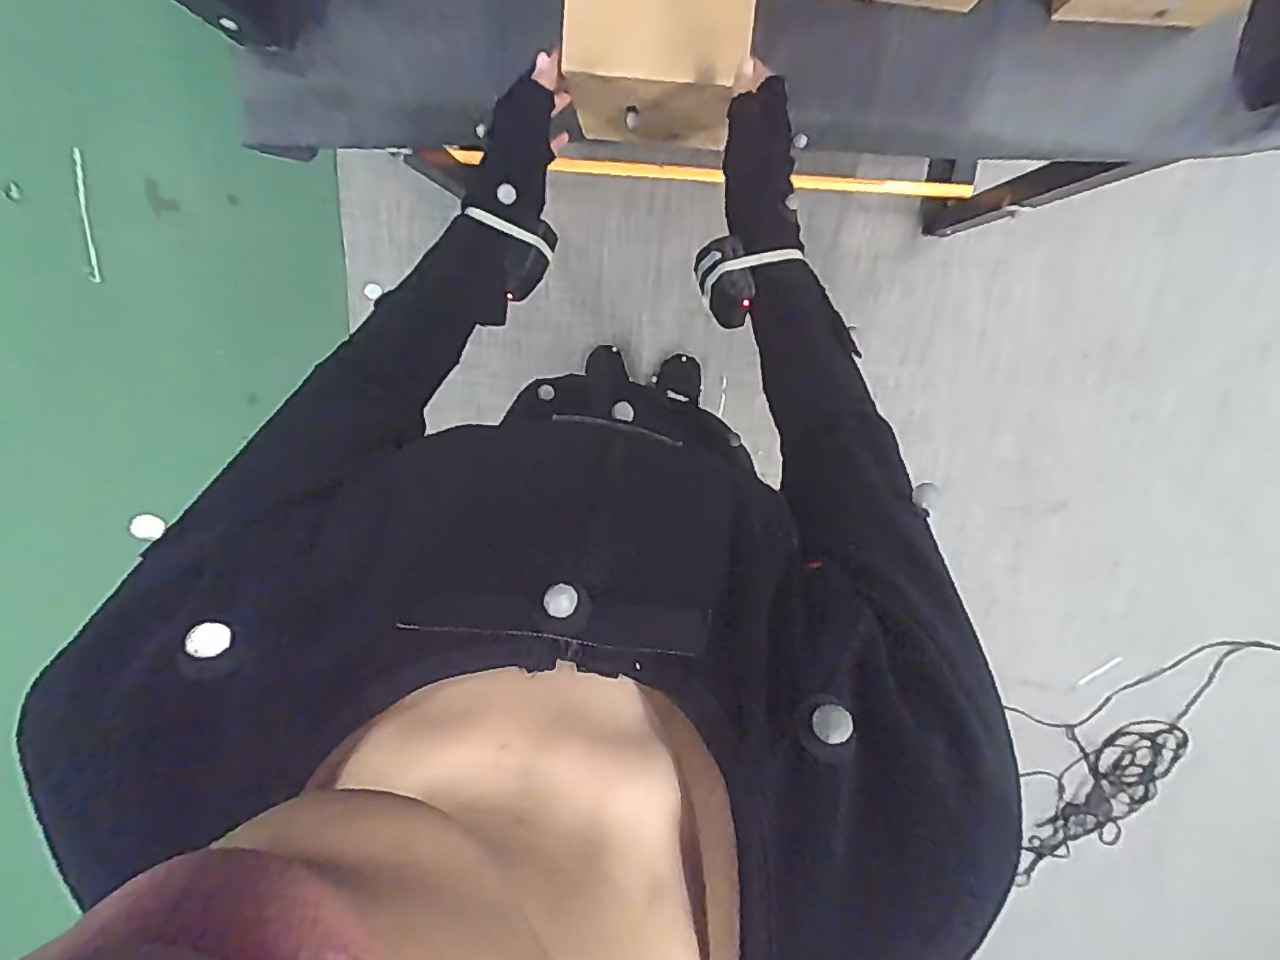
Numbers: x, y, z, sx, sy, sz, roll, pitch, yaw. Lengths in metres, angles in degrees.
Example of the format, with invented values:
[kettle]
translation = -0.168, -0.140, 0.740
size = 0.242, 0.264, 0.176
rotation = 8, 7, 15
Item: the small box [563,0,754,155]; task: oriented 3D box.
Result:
[small box]
translation = 0.023, -0.450, 0.541
size = 0.168, 0.176, 0.179
rotation = 5, 103, 1
